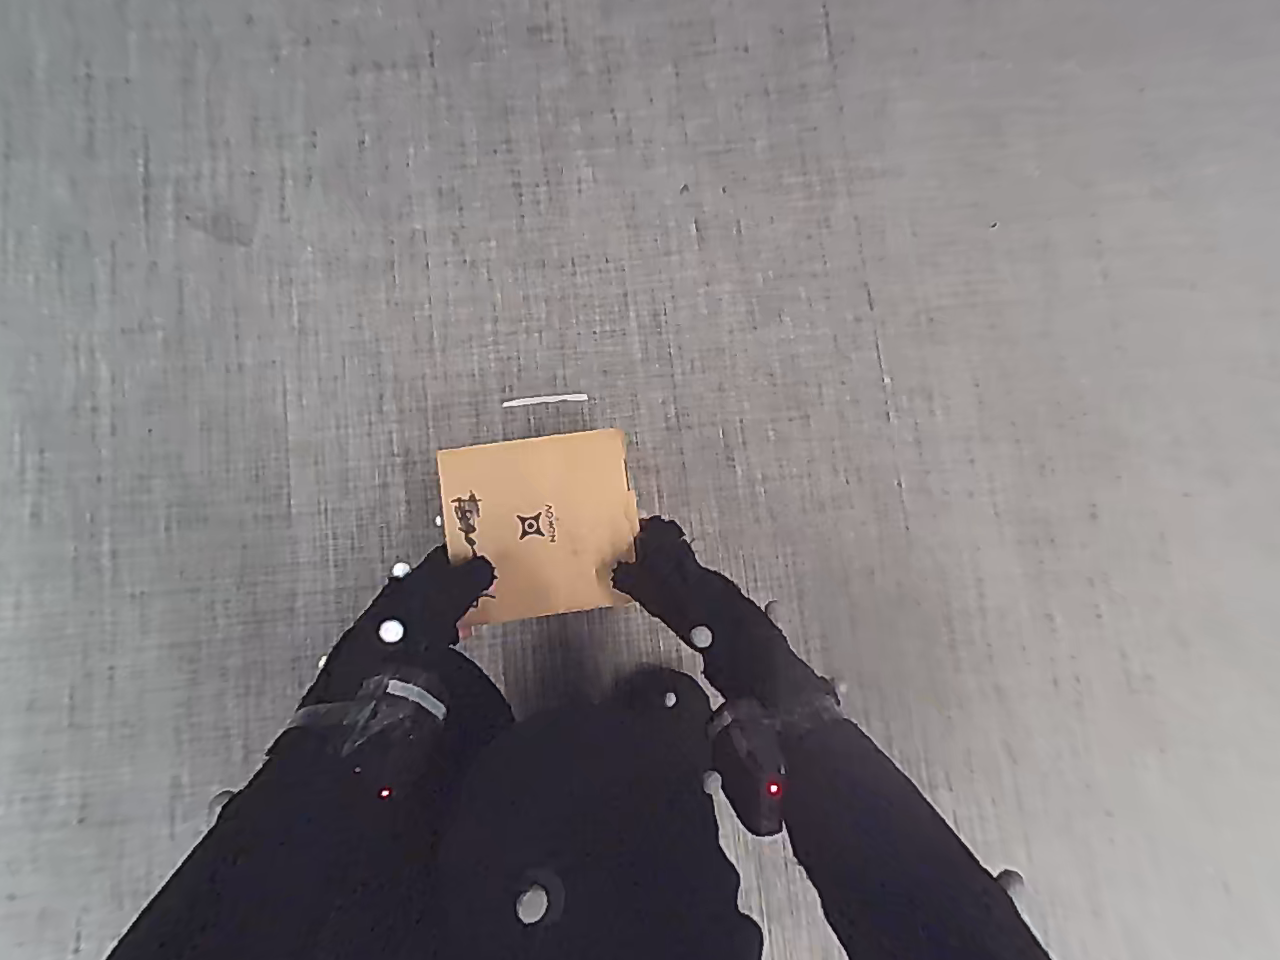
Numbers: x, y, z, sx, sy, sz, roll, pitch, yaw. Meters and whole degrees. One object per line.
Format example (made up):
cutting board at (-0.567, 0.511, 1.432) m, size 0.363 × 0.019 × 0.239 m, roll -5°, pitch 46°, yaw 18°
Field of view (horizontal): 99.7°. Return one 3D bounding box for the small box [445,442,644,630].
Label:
small box at (-0.095, 0.056, 0.585) m, size 0.179 × 0.176 × 0.168 m, roll -5°, pitch 85°, yaw -4°
